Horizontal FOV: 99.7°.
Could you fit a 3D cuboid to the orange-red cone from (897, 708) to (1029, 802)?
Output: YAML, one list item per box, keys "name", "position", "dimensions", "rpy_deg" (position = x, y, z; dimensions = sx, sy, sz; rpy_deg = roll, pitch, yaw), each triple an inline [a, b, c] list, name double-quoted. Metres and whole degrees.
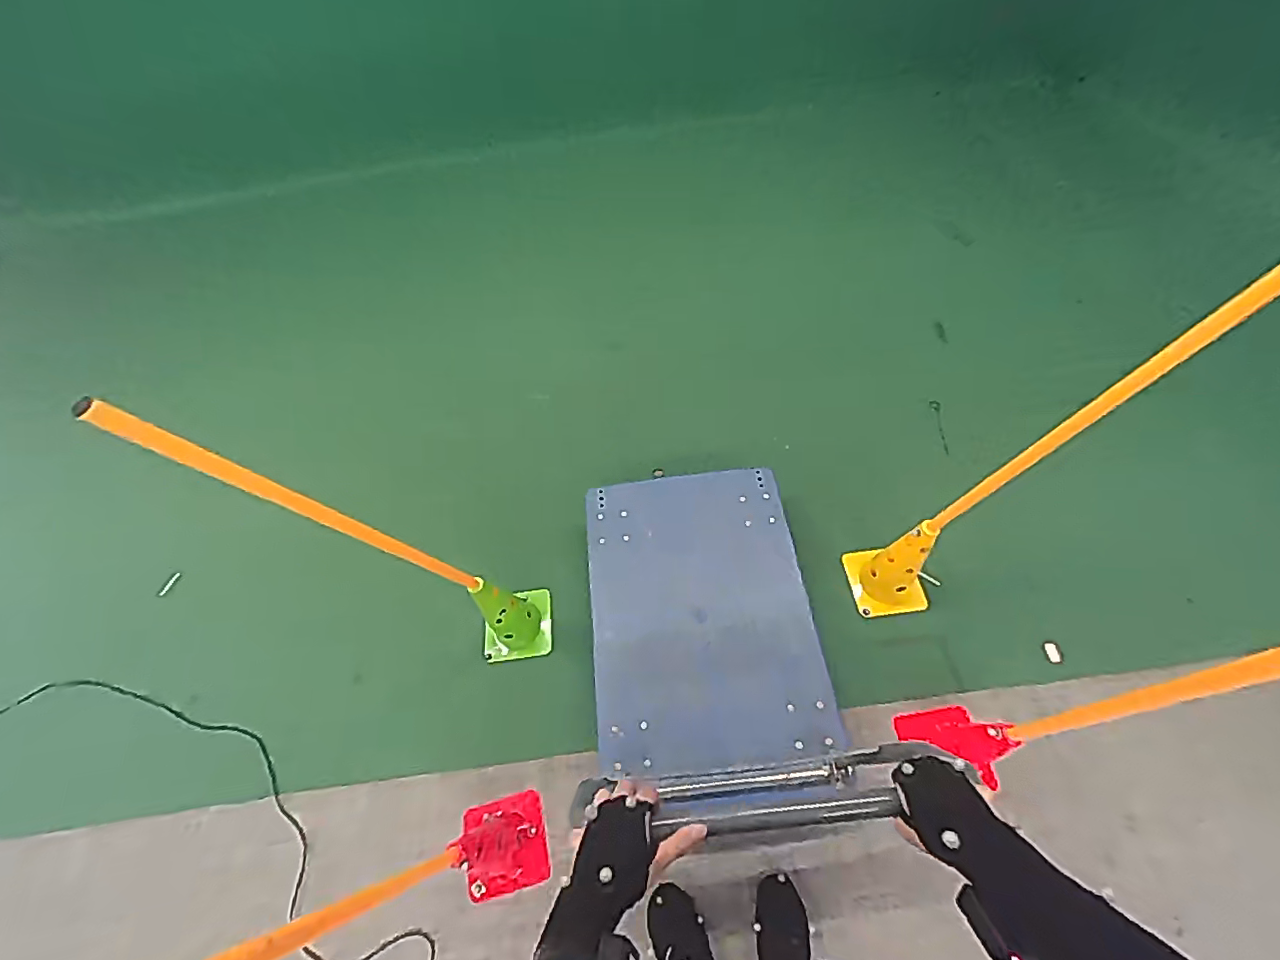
- name: "orange-red cone"
  position: [0.749, 0.587, 1.199]
  dimensions: [0.198, 0.360, 0.199]
  rpy_deg: [-8, 57, 0]

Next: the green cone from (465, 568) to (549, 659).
- name: "green cone"
  position: [-0.384, 0.330, 1.457]
  dimensions: [0.200, 0.368, 0.202]
  rpy_deg: [-9, 57, 1]
